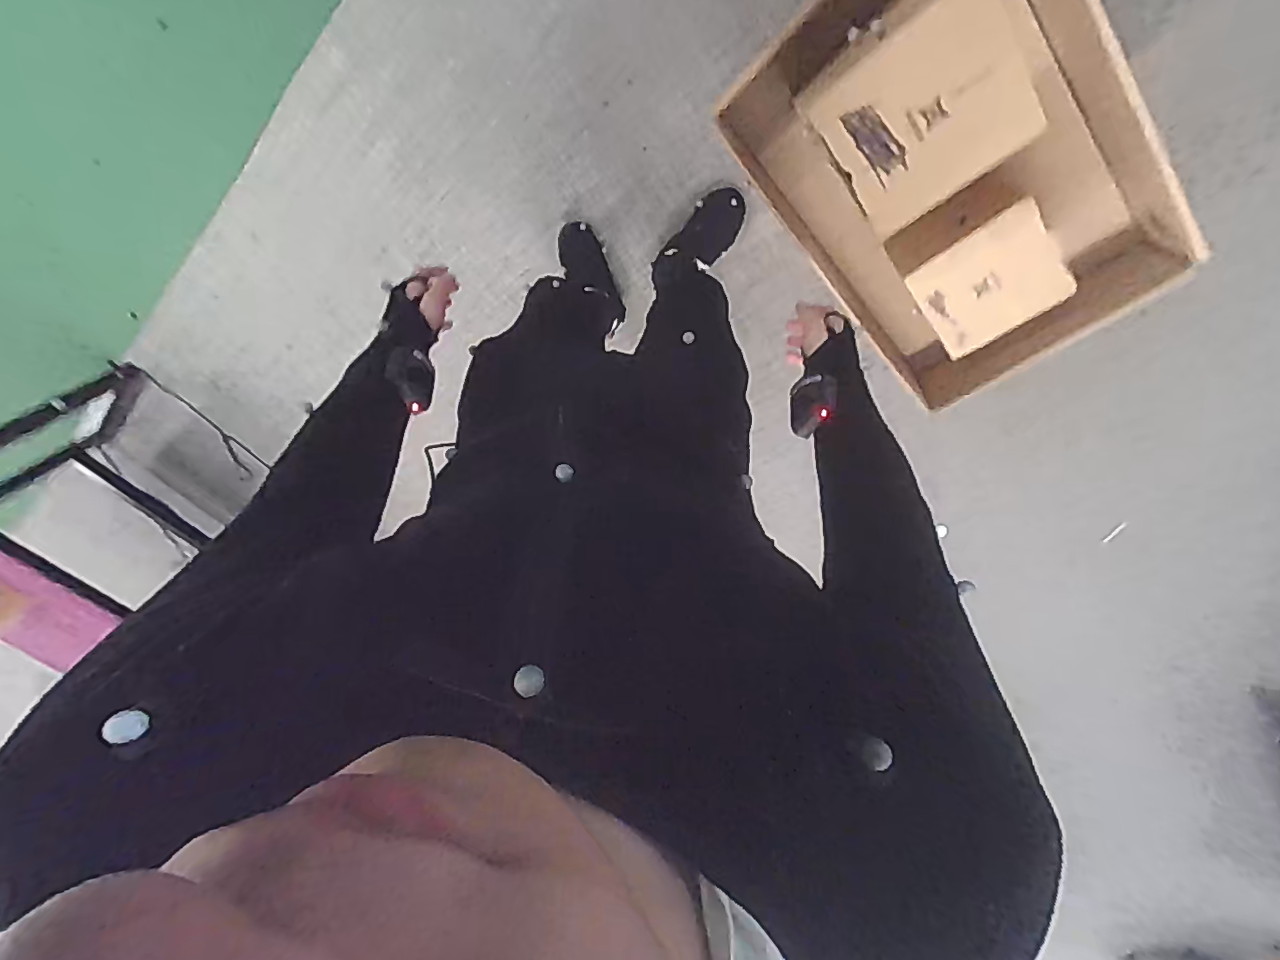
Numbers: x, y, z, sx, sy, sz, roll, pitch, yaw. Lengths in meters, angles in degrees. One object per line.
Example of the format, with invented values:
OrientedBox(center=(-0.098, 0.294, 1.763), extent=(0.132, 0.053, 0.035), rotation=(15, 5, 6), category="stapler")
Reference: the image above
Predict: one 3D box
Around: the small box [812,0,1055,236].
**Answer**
OrientedBox(center=(0.306, -0.412, 0.601), extent=(0.179, 0.176, 0.168), rotation=(-29, 117, 29), category="small box")

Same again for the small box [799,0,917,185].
OrientedBox(center=(0.333, -0.513, 0.728), extent=(0.179, 0.176, 0.168), rotation=(-33, 114, 31), category="small box")
